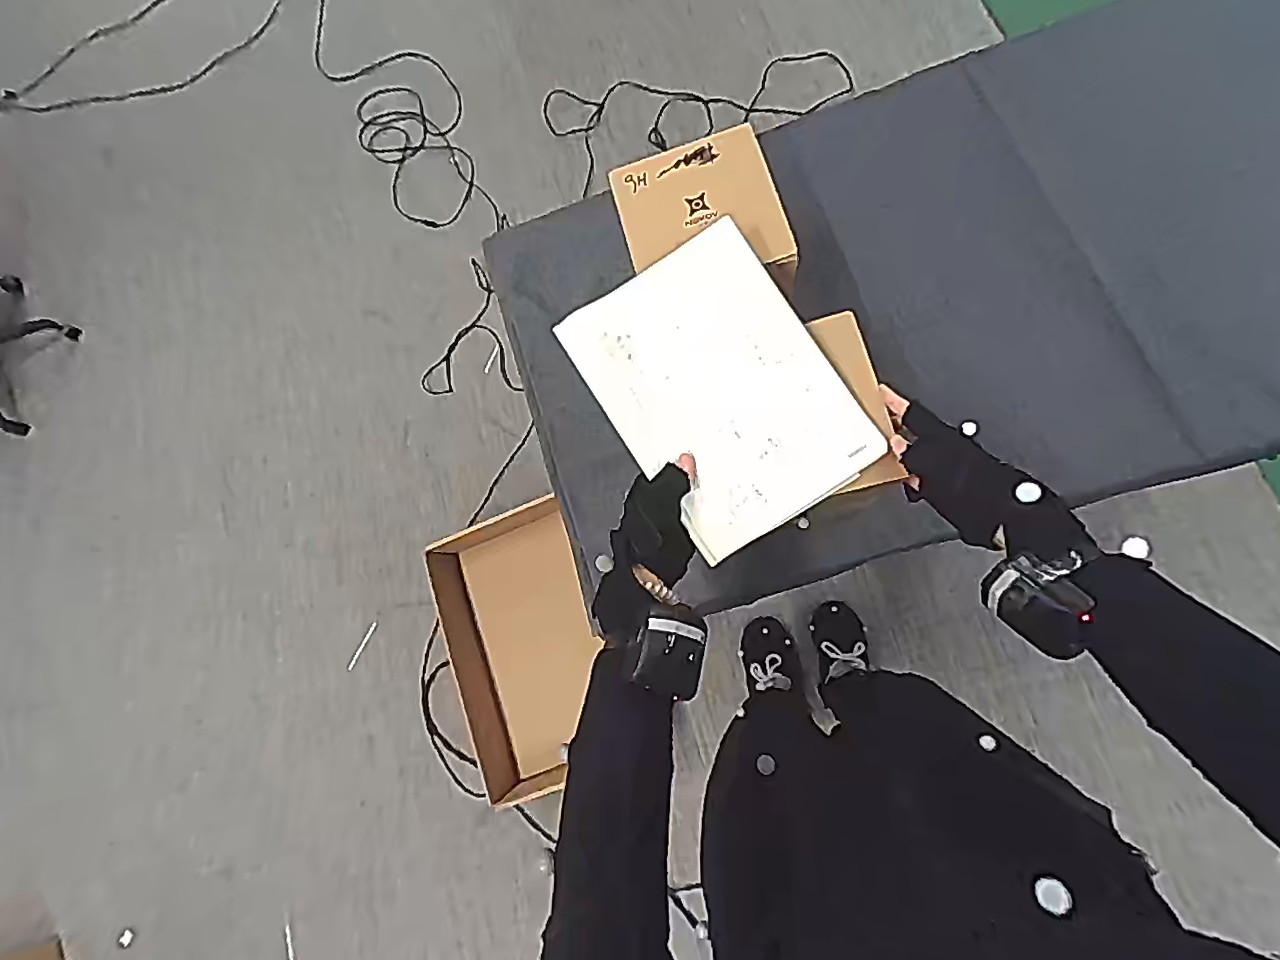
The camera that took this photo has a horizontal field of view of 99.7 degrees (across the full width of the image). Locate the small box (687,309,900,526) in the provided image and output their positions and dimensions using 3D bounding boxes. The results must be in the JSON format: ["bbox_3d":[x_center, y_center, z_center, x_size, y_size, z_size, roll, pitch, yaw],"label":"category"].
[{"bbox_3d":[0.156,-0.051,0.592,0.168,0.176,0.179,-13,76,7],"label":"small box"}]

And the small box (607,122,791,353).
[{"bbox_3d":[0.073,-0.272,0.654,0.168,0.176,0.179,-16,77,6],"label":"small box"}]
